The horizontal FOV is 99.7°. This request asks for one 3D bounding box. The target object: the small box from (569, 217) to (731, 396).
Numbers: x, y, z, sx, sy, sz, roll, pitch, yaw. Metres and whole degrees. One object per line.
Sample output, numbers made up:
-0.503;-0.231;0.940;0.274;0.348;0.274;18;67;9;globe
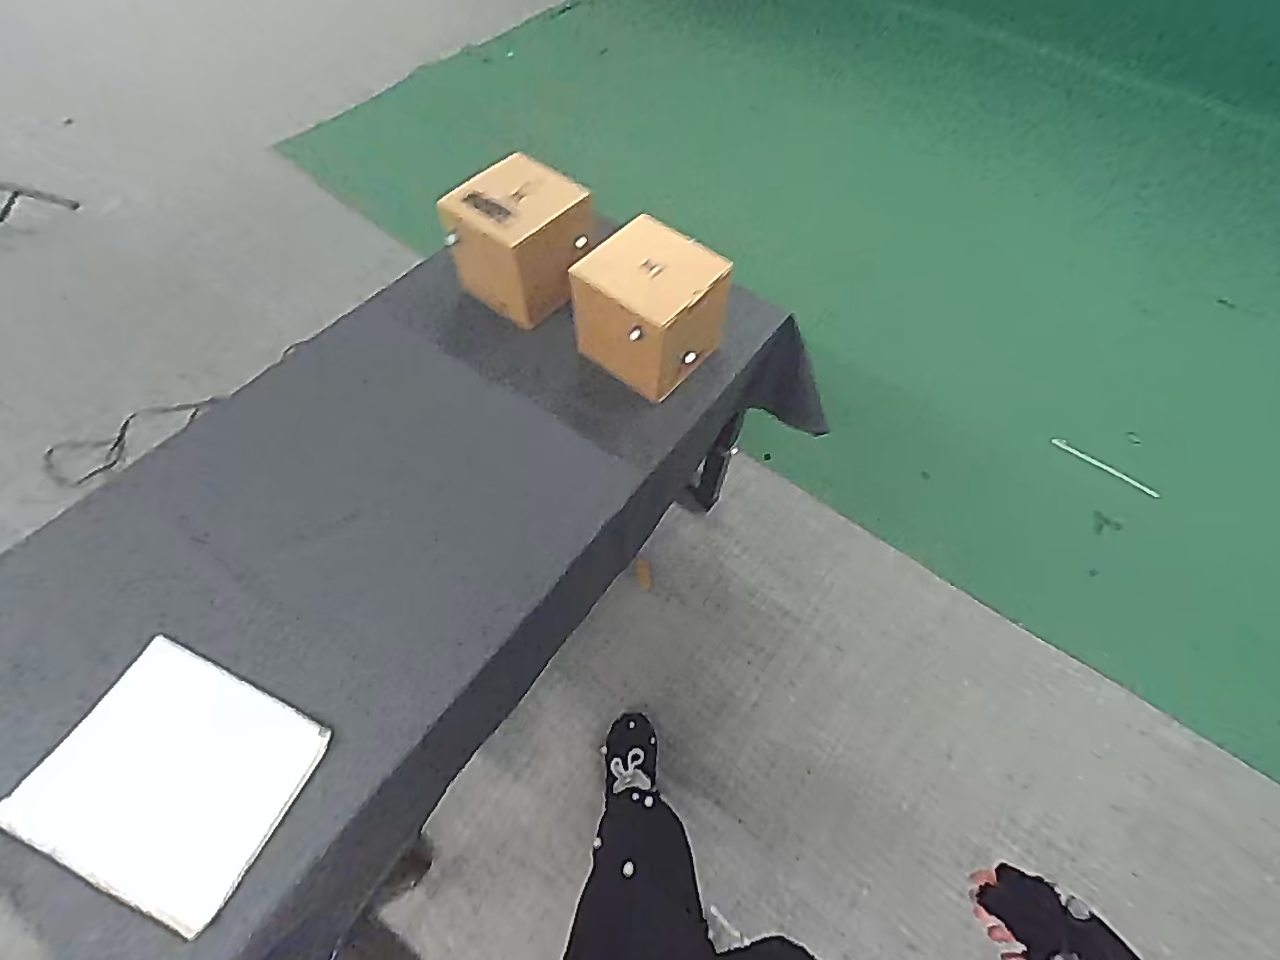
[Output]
0.011;-0.263;0.839;0.179;0.176;0.168;37;66;17;small box
